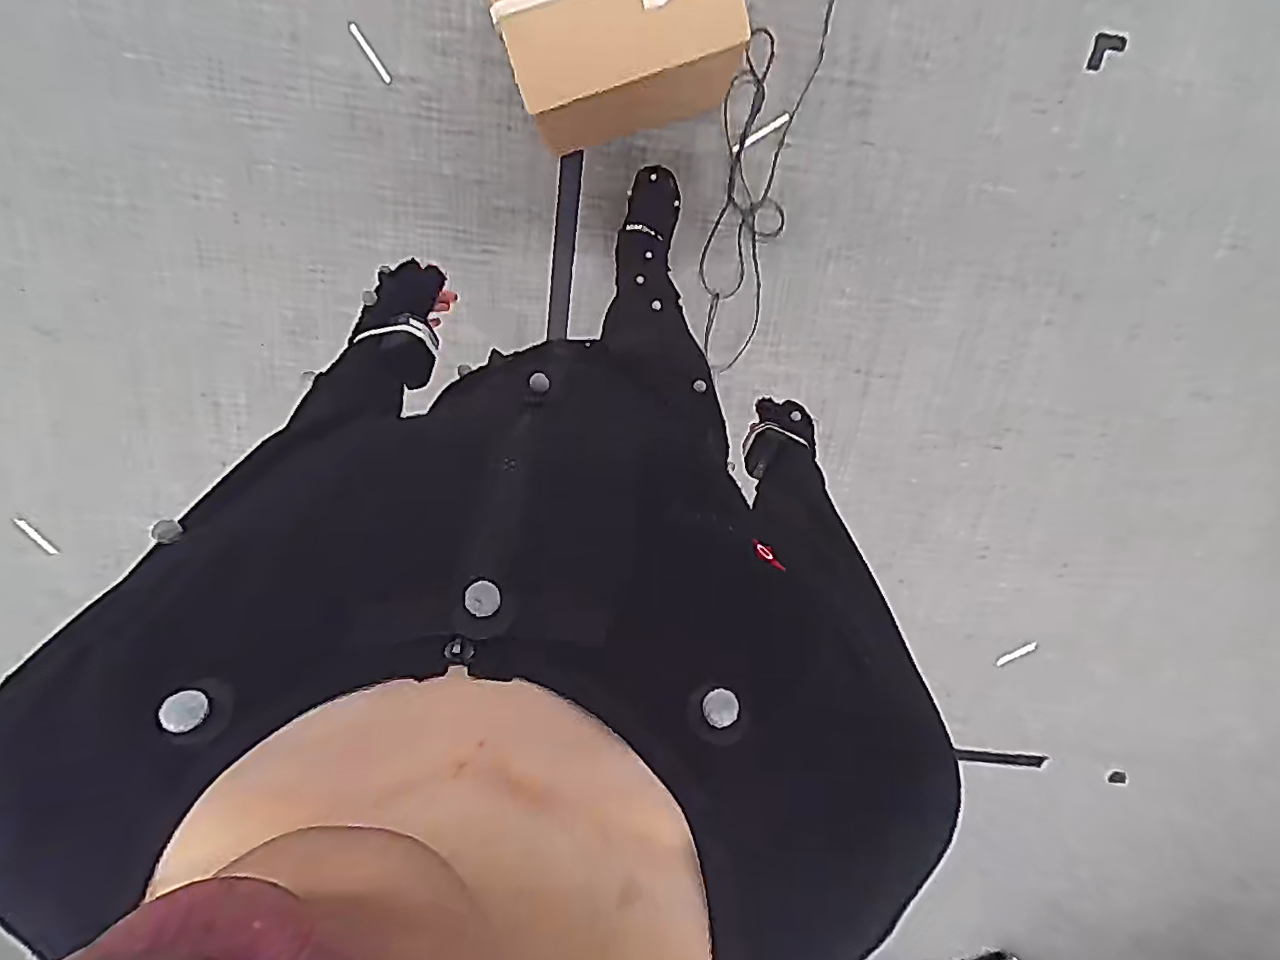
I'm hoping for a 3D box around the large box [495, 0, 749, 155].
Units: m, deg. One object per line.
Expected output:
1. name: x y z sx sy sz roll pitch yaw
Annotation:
1. large box: -0.050 -0.883 1.027 0.408 0.320 0.320 -16 108 4
